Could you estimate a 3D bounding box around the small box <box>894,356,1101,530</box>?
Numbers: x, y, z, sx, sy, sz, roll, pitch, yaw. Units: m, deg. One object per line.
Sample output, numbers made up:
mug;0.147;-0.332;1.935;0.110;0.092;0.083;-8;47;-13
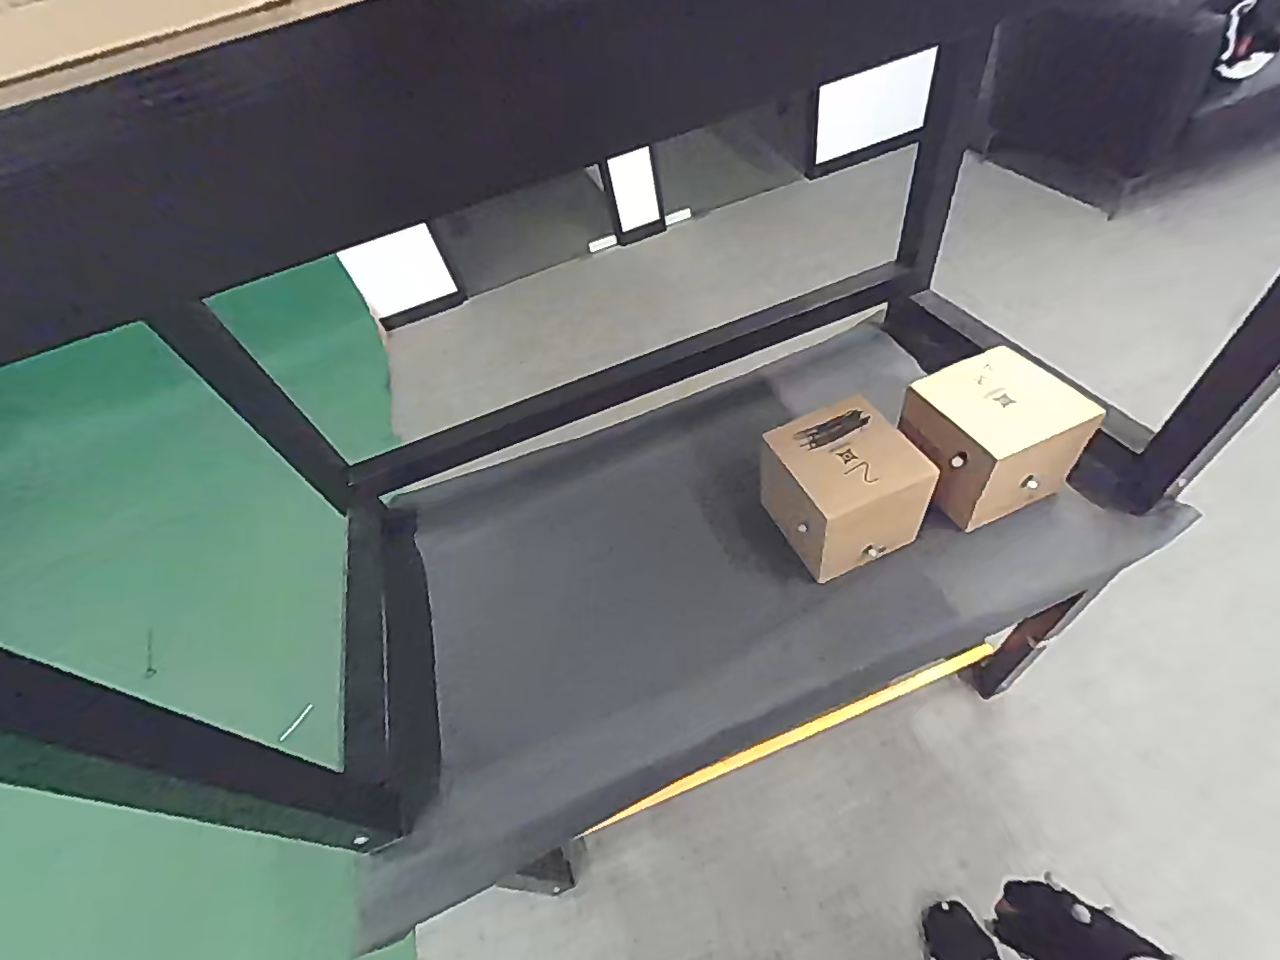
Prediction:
small box;0.514;-0.047;0.809;0.168;0.176;0.179;-23;48;-6
